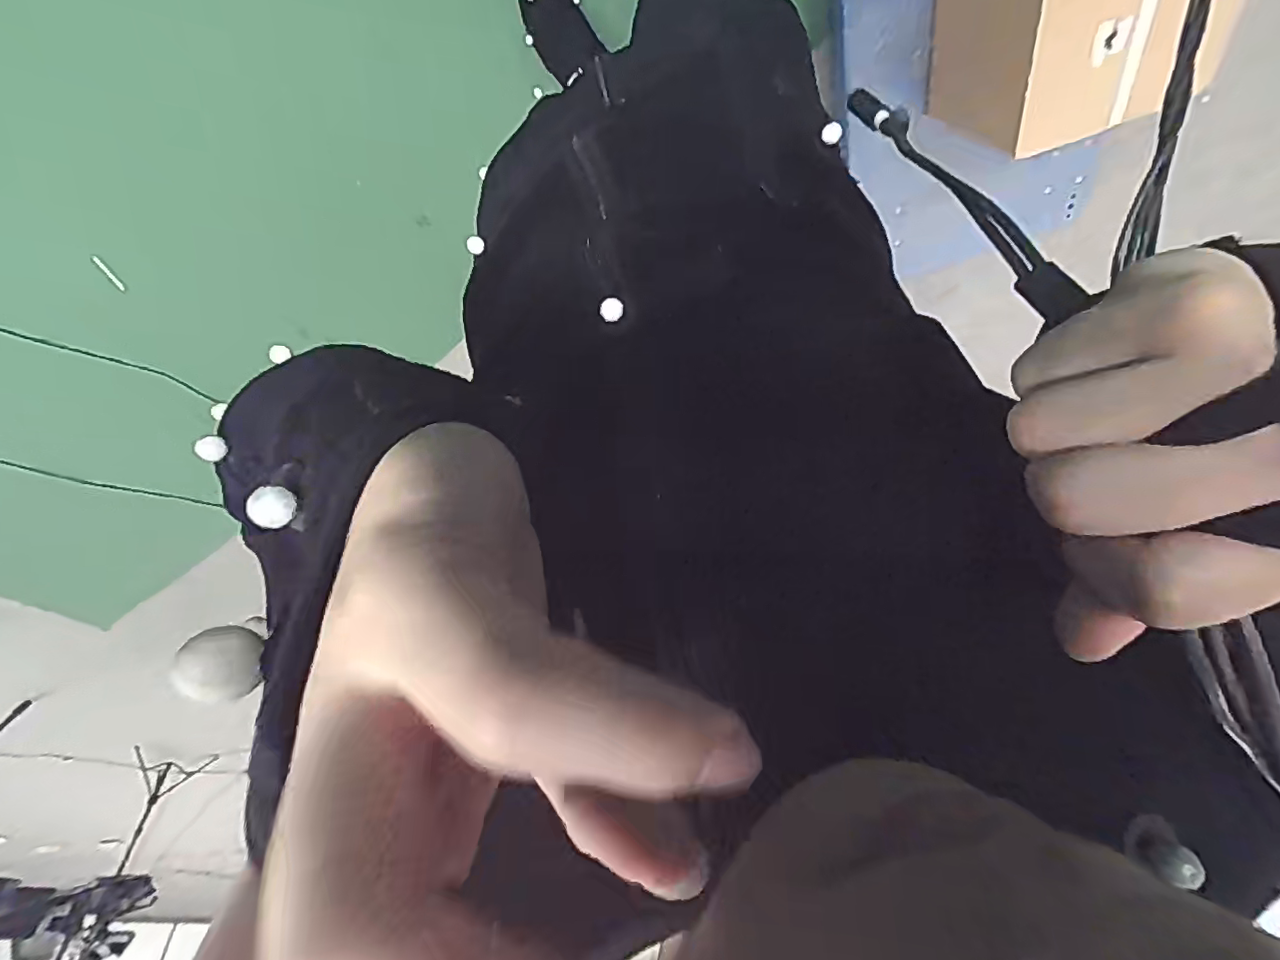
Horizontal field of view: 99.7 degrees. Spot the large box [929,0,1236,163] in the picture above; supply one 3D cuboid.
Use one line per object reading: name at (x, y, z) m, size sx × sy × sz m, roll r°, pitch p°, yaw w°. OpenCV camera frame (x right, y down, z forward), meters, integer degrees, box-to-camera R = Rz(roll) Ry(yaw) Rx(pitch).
large box at (0.715, -0.829, 0.887) m, size 0.320 × 0.320 × 0.408 m, roll -16°, pitch 137°, yaw 7°
